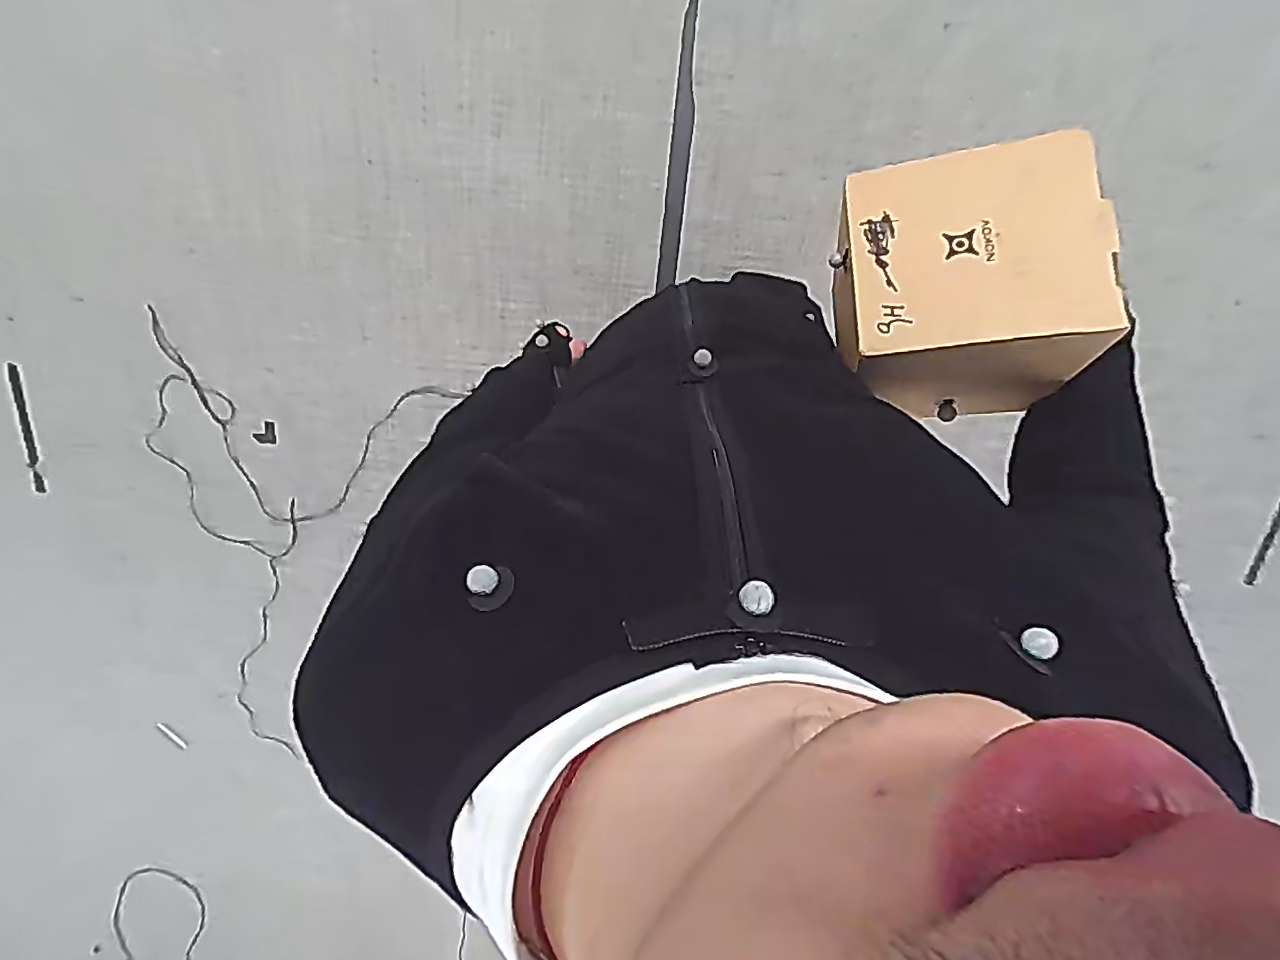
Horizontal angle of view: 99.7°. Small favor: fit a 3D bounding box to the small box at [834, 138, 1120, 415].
[{"bbox_3d":[0.283,-0.167,0.500,0.179,0.176,0.168,-3,76,15],"label":"small box"}]
